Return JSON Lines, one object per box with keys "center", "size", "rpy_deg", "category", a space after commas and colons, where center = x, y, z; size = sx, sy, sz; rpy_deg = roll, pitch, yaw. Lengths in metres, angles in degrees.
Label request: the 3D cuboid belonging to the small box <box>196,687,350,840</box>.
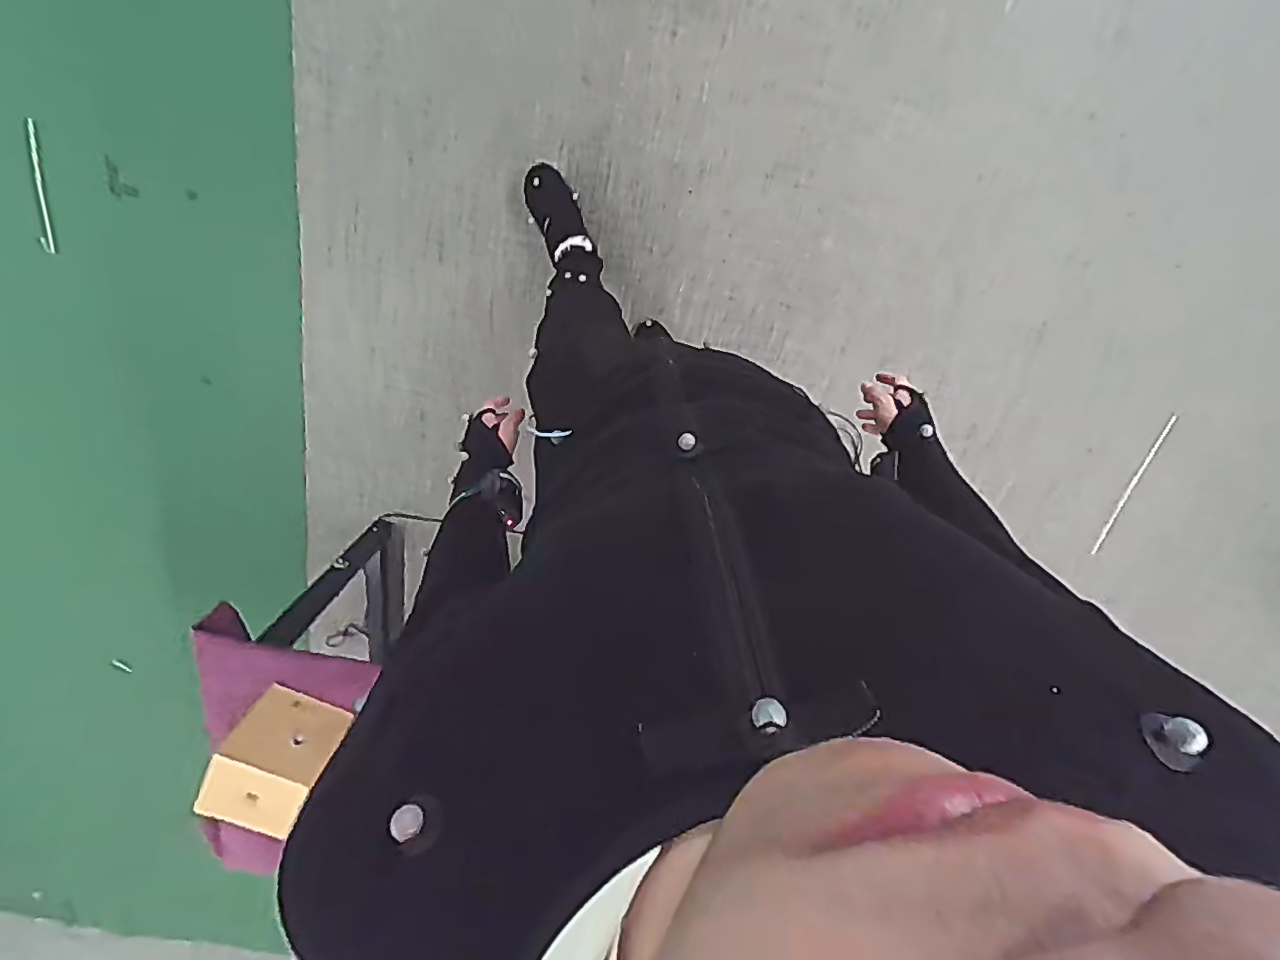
{"center": [-0.689, 0.534, 1.033], "size": [0.168, 0.176, 0.179], "rpy_deg": [28, 112, -12], "category": "small box"}
